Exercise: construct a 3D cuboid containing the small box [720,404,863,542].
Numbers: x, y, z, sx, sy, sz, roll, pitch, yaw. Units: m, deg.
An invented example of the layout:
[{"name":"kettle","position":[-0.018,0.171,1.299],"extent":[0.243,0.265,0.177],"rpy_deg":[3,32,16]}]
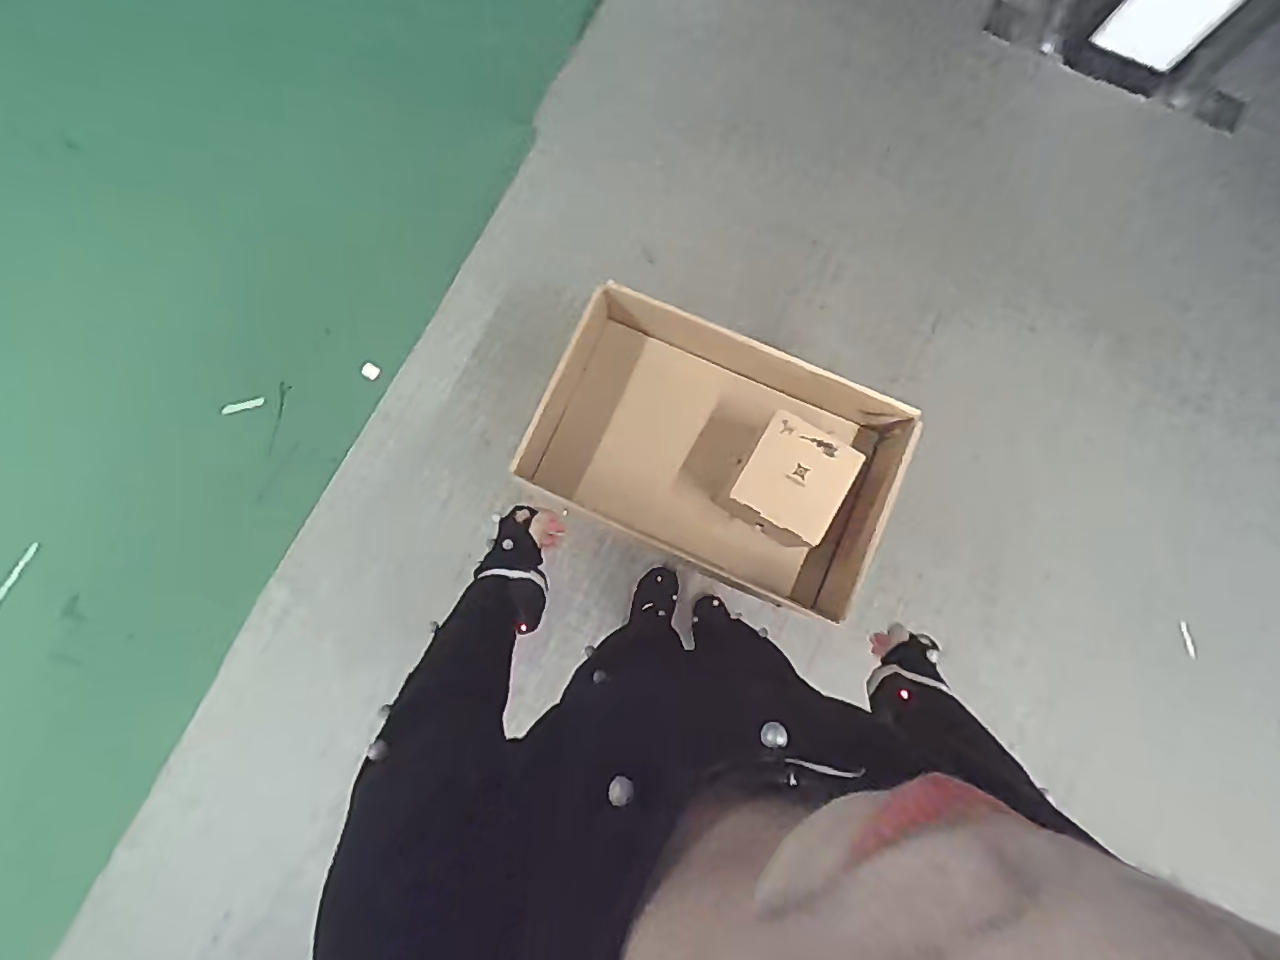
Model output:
[{"name":"small box","position":[0.256,-0.004,0.963],"extent":[0.168,0.176,0.179],"rpy_deg":[31,84,3]}]
